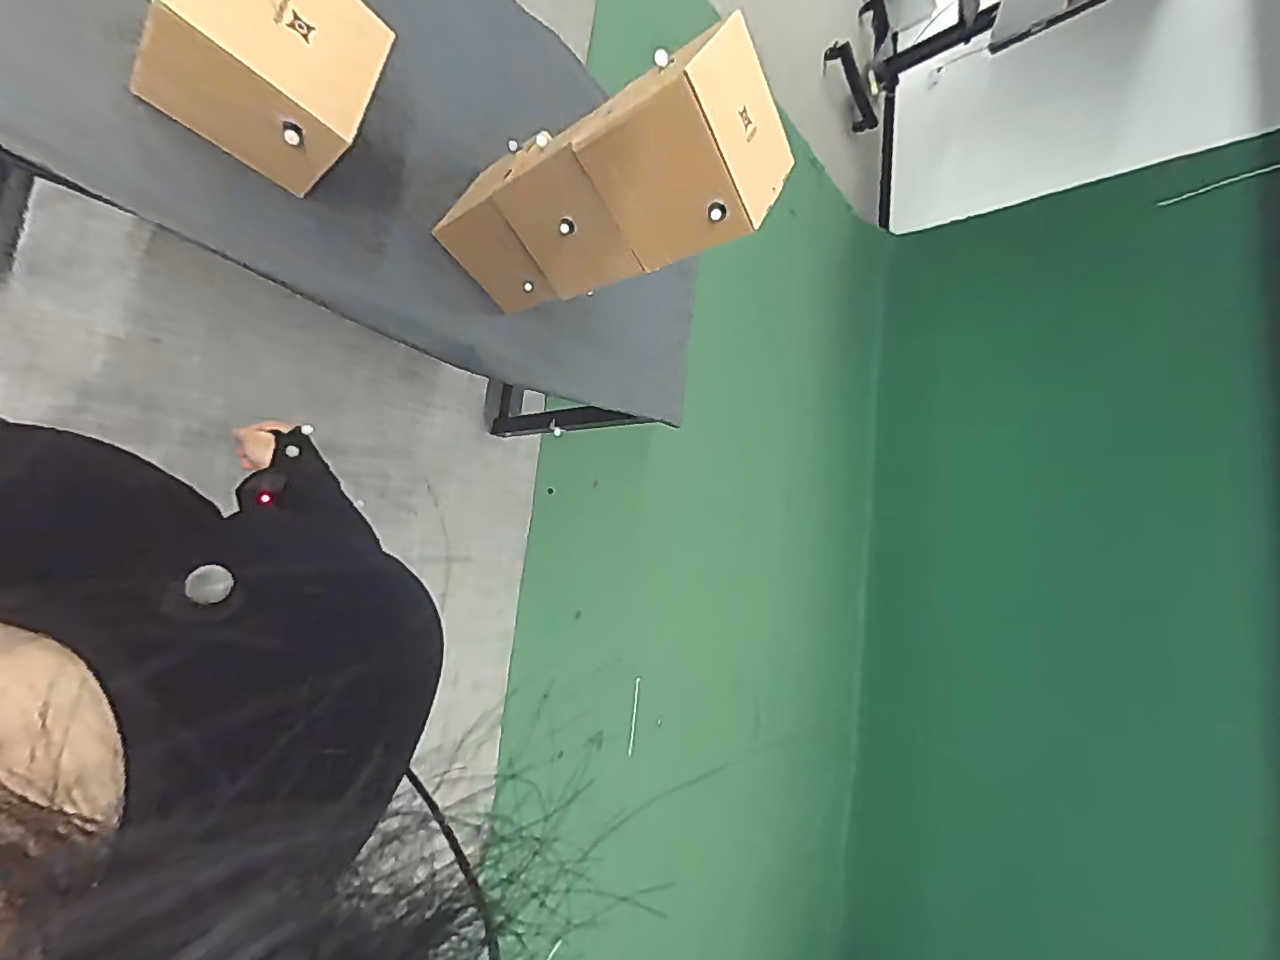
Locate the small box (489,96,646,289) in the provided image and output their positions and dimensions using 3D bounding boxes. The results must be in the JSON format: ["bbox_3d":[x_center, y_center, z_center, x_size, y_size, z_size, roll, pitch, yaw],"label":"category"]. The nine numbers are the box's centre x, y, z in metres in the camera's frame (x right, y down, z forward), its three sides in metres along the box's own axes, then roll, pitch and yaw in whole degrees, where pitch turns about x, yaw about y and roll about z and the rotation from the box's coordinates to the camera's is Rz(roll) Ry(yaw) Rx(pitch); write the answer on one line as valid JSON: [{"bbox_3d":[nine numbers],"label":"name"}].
[{"bbox_3d":[-0.069,-0.389,0.753,0.179,0.176,0.168,52,53,-34],"label":"small box"}]

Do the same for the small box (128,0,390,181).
[{"bbox_3d":[-0.423,-0.473,0.606,0.179,0.176,0.168,26,70,-45],"label":"small box"}]

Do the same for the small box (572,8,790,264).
[{"bbox_3d":[0.050,-0.391,0.643,0.179,0.176,0.168,51,54,-36],"label":"small box"}]
